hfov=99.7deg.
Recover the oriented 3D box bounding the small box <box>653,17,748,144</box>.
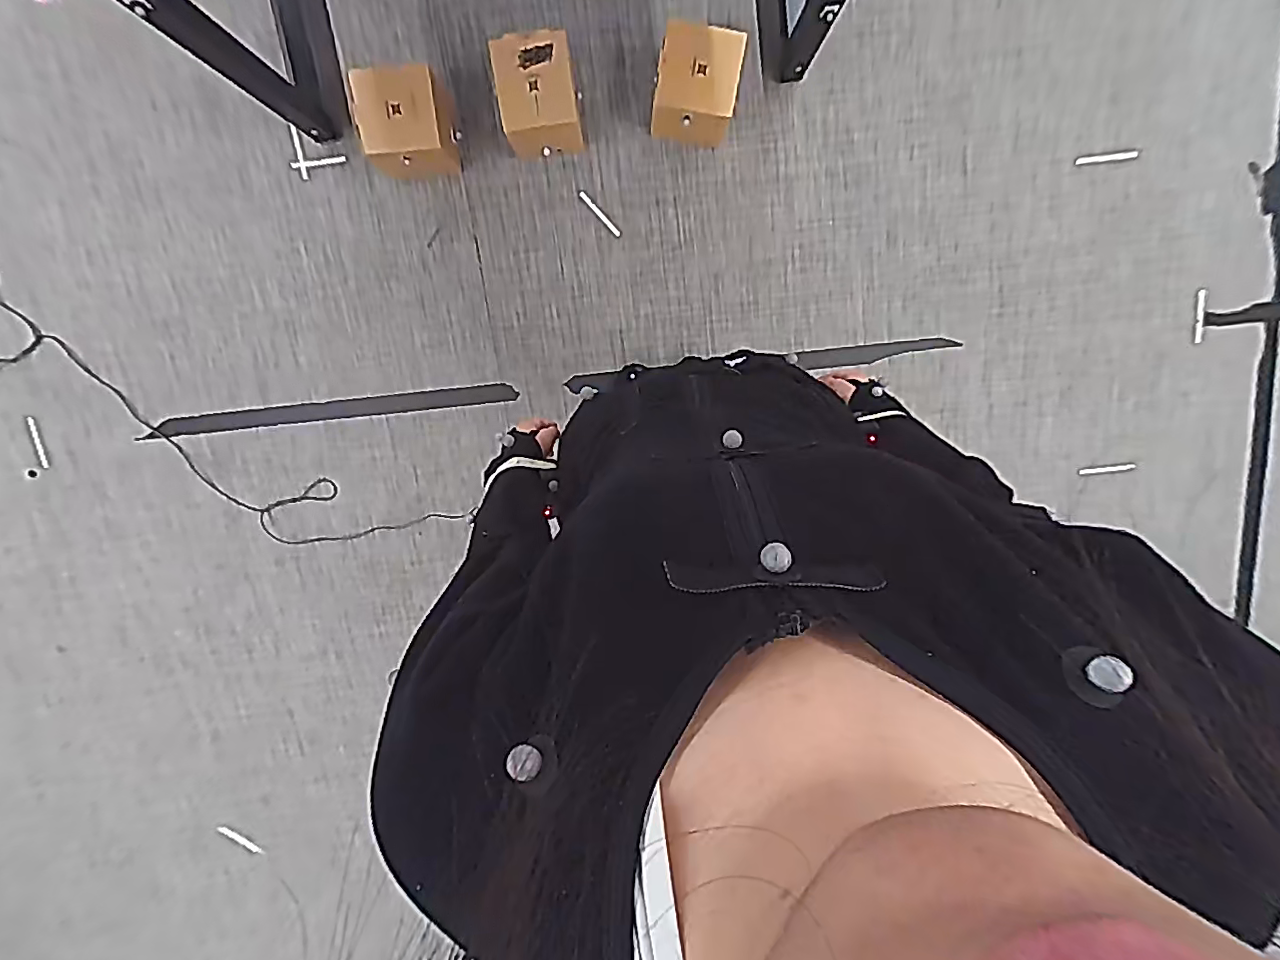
[{"bbox_3d":[0.130,-0.895,1.231,0.179,0.176,0.168,10,102,-1],"label":"small box"}]

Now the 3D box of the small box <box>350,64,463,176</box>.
[{"bbox_3d":[-0.527,-0.816,1.243,0.179,0.176,0.168,-5,103,-1],"label":"small box"}]

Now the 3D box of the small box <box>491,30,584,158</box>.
[{"bbox_3d":[-0.226,-0.869,1.232,0.168,0.176,0.179,-8,103,1],"label":"small box"}]
